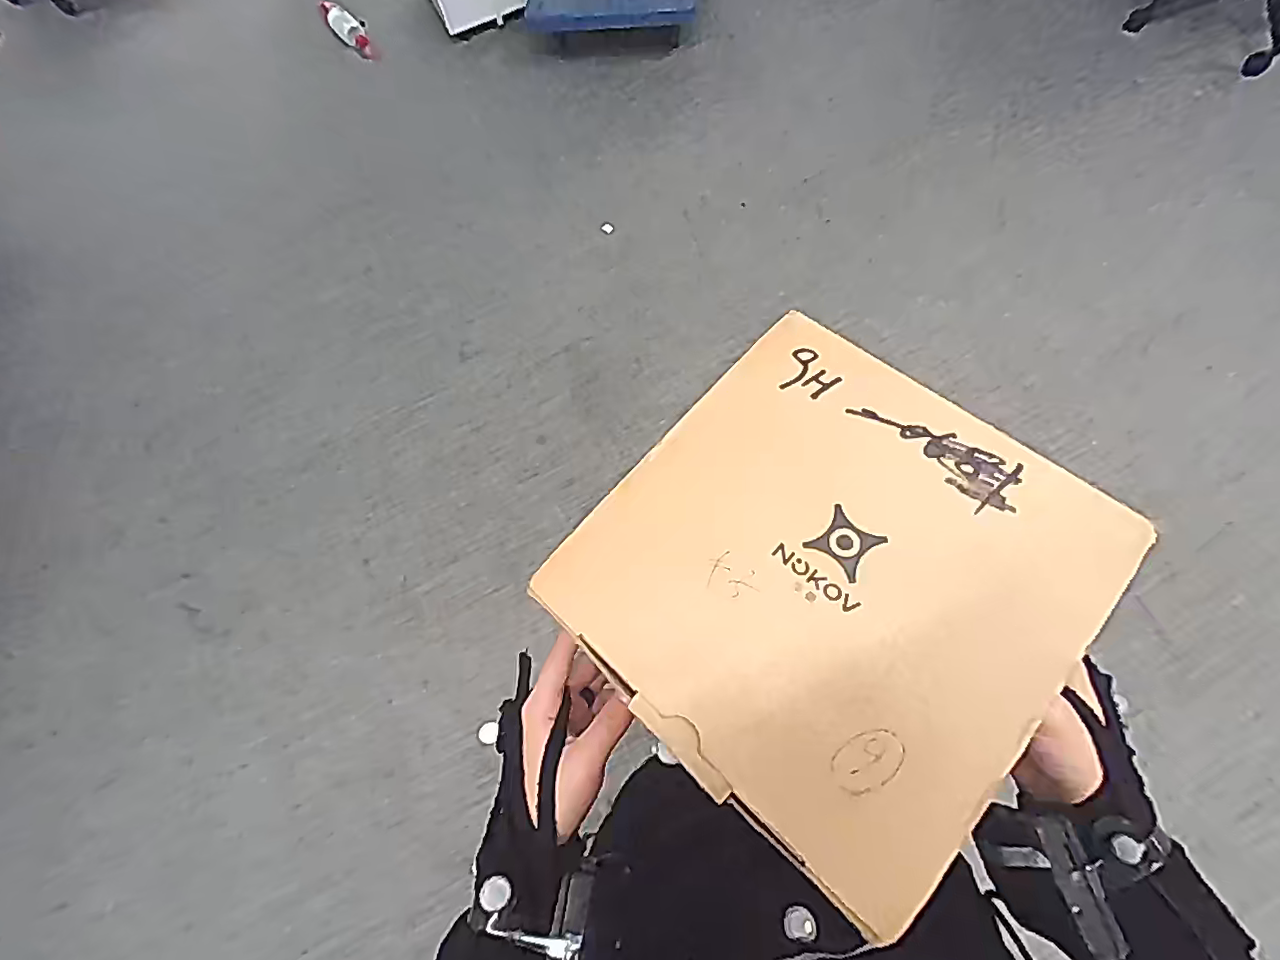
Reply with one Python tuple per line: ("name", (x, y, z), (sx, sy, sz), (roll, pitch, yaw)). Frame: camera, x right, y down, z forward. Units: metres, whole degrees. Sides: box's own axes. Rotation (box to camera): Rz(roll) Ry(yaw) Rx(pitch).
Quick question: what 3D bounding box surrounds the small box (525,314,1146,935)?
("small box", (0.079, 0.061, 0.280), (0.168, 0.176, 0.179), (40, 78, 20))
